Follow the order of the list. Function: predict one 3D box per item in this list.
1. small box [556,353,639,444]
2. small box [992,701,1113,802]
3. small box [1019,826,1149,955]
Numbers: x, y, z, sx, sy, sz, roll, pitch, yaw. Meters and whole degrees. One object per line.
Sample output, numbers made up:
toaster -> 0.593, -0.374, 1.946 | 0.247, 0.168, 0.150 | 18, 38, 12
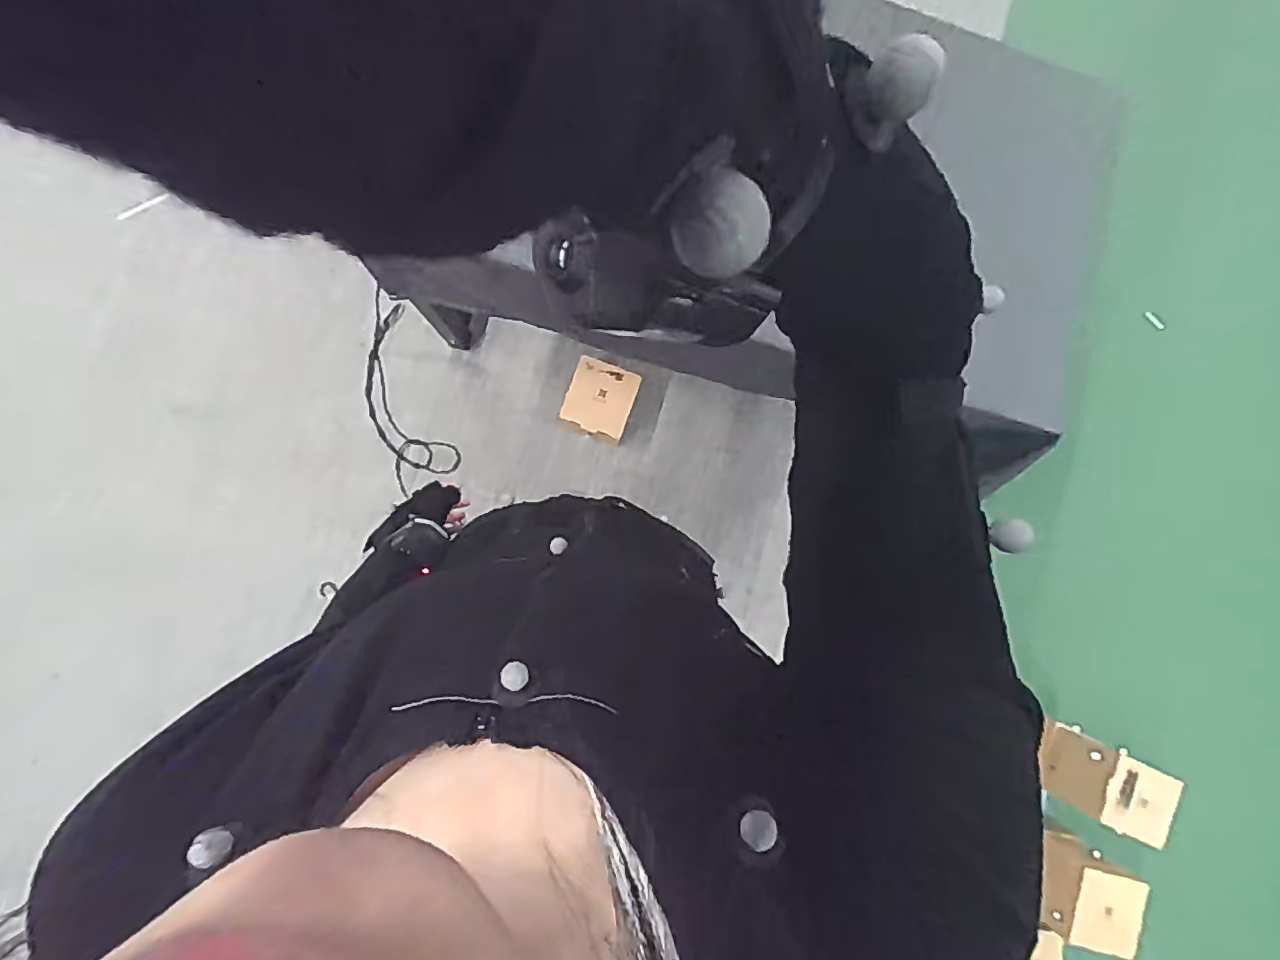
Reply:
small box -> -0.110, -0.206, 1.423 | 0.168, 0.176, 0.179 | 20, 85, -4
small box -> 1.132, 0.740, 1.495 | 0.179, 0.176, 0.168 | 26, 84, -2
small box -> 1.065, 0.982, 1.310 | 0.168, 0.176, 0.179 | 16, 86, -5
